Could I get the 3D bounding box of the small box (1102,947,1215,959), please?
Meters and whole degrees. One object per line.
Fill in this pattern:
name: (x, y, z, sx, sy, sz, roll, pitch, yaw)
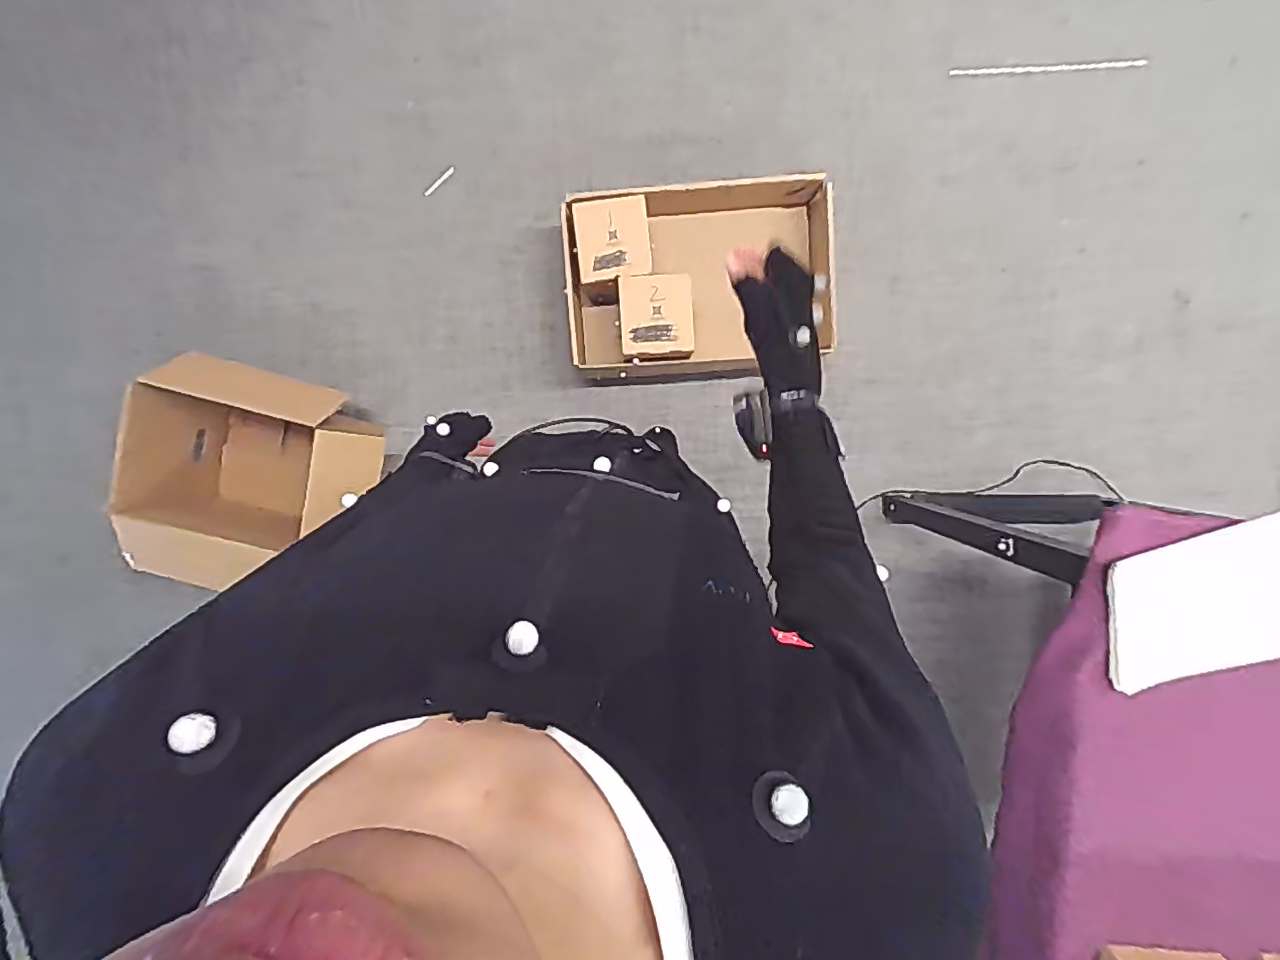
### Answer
small box: (0.755, 0.773, 0.717, 0.179, 0.176, 0.168, 5, 95, 0)
